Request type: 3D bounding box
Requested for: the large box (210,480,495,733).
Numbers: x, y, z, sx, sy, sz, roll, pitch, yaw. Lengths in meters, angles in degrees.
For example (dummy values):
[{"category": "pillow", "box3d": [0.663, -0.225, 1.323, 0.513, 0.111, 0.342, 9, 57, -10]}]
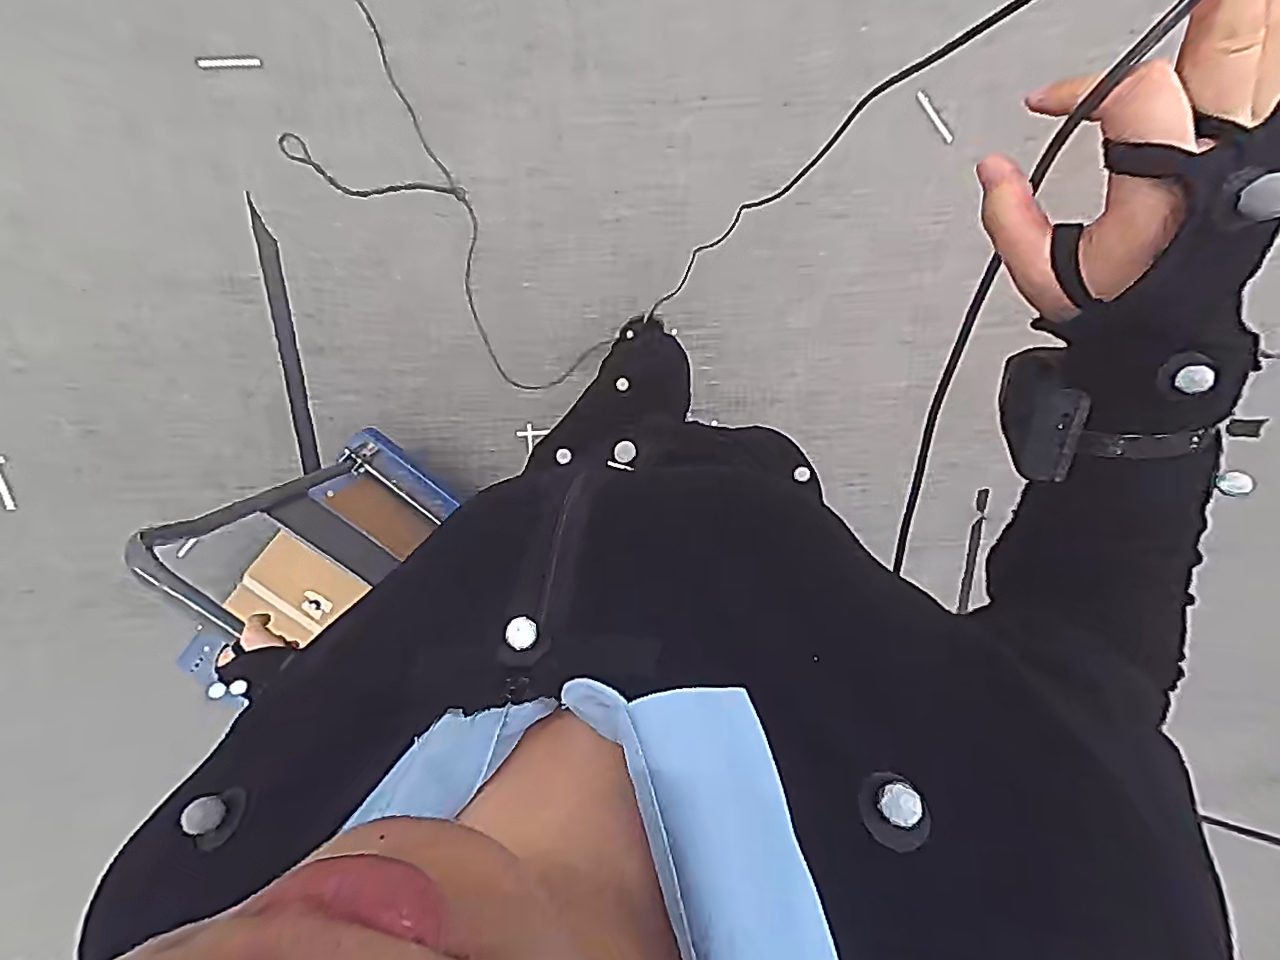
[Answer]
[{"category": "large box", "box3d": [-0.609, 0.267, 1.224, 0.408, 0.320, 0.320, 41, 100, -10]}]
